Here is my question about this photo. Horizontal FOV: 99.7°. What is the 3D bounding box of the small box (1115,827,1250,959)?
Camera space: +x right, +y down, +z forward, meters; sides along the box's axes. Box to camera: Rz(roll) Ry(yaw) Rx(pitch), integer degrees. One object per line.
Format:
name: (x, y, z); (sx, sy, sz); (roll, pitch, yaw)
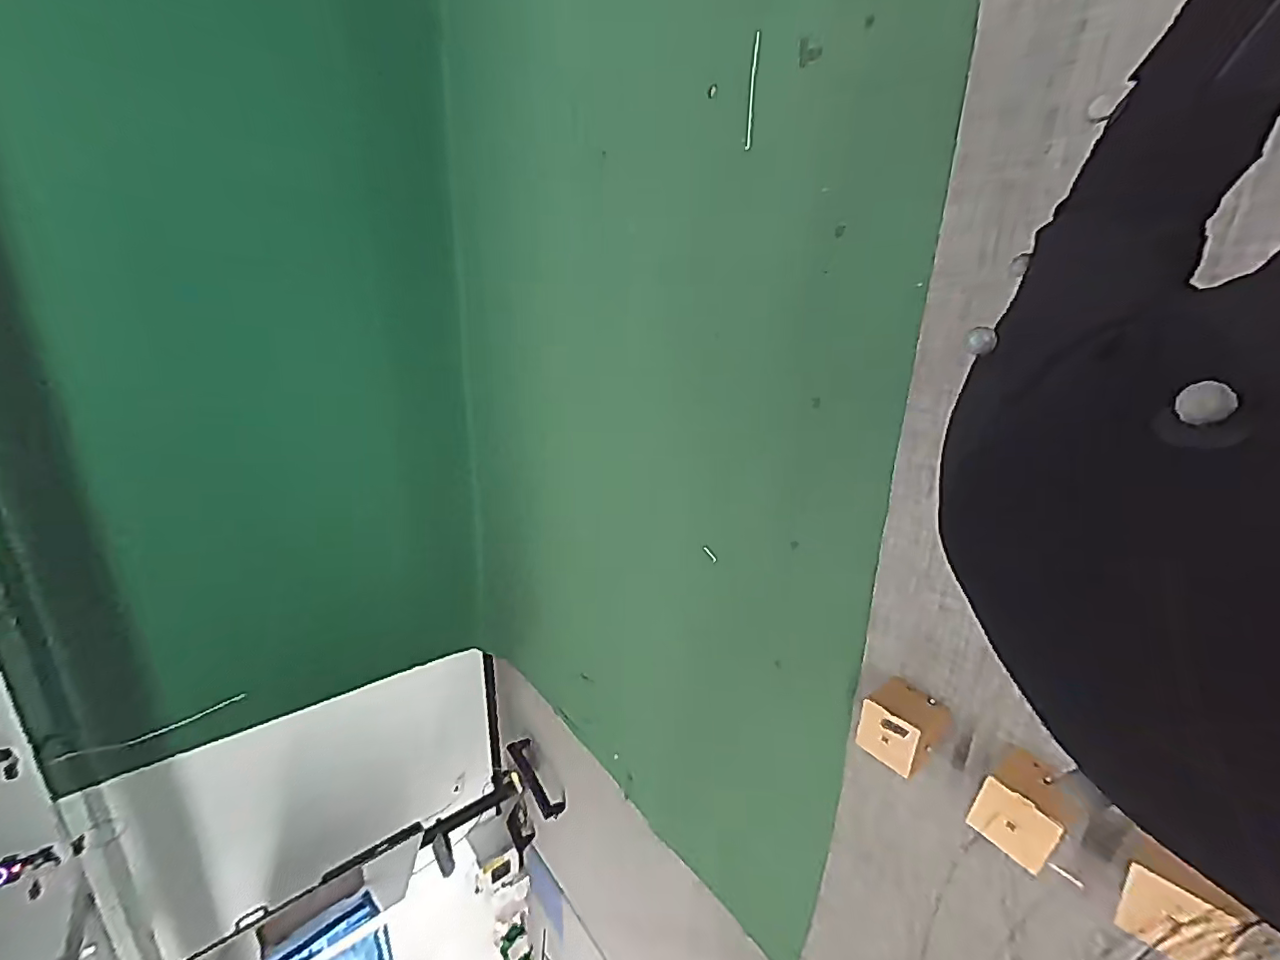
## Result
small box: (1.143, 0.892, 1.139); (0.168, 0.176, 0.179); (17, 111, 47)

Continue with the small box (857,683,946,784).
small box: (0.768, 0.731, 1.584); (0.168, 0.176, 0.179); (24, 119, 47)

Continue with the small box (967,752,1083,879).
small box: (0.966, 0.831, 1.354); (0.168, 0.176, 0.179); (30, 122, 45)
